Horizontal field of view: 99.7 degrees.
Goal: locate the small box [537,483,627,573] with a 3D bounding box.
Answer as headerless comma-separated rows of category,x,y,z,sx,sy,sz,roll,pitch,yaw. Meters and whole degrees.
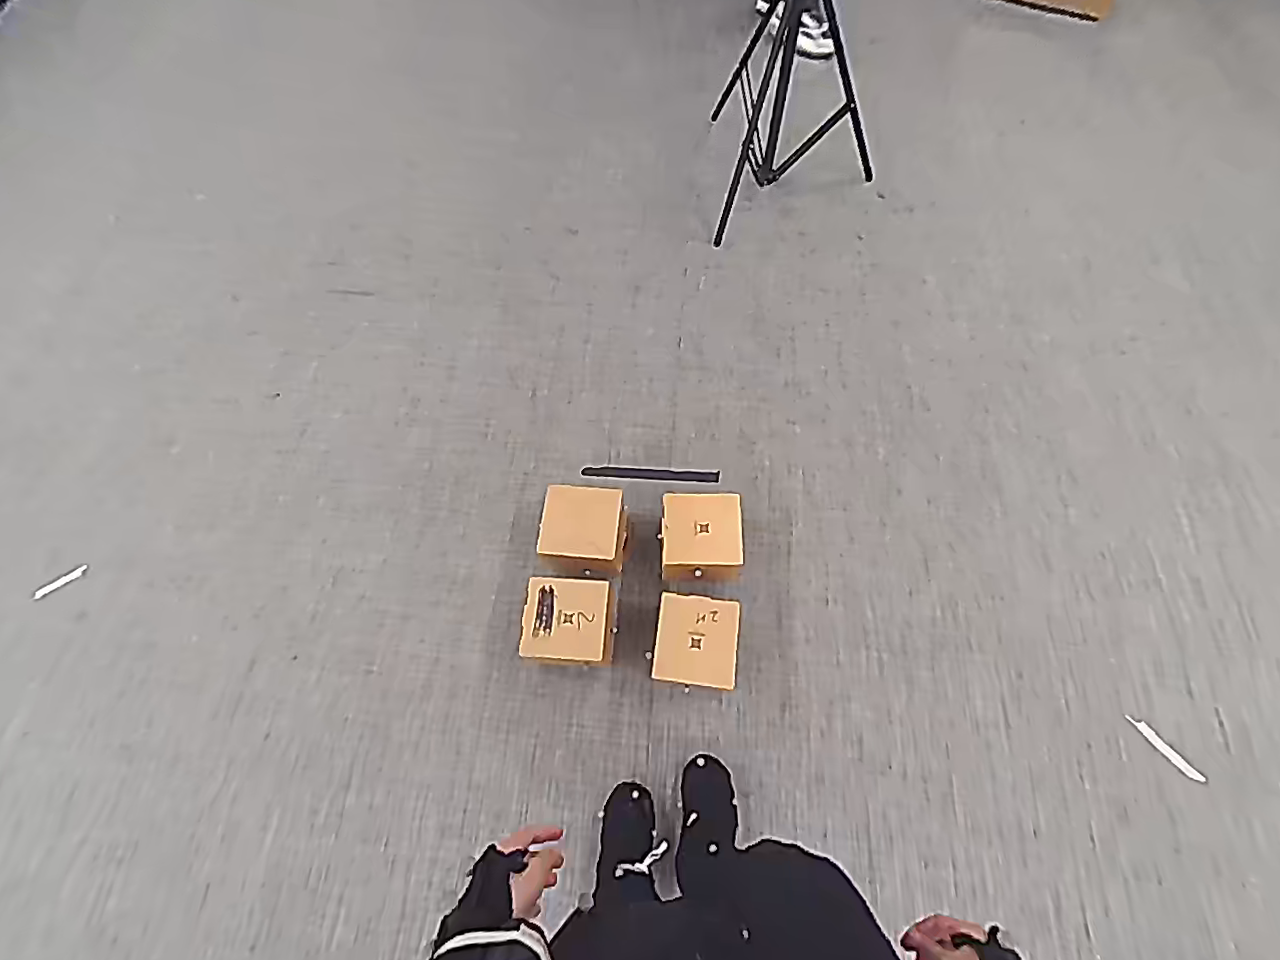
small box,-0.130,0.117,1.284,0.179,0.176,0.168,5,67,4

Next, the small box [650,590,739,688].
small box,0.117,0.351,1.177,0.168,0.176,0.179,7,68,5
